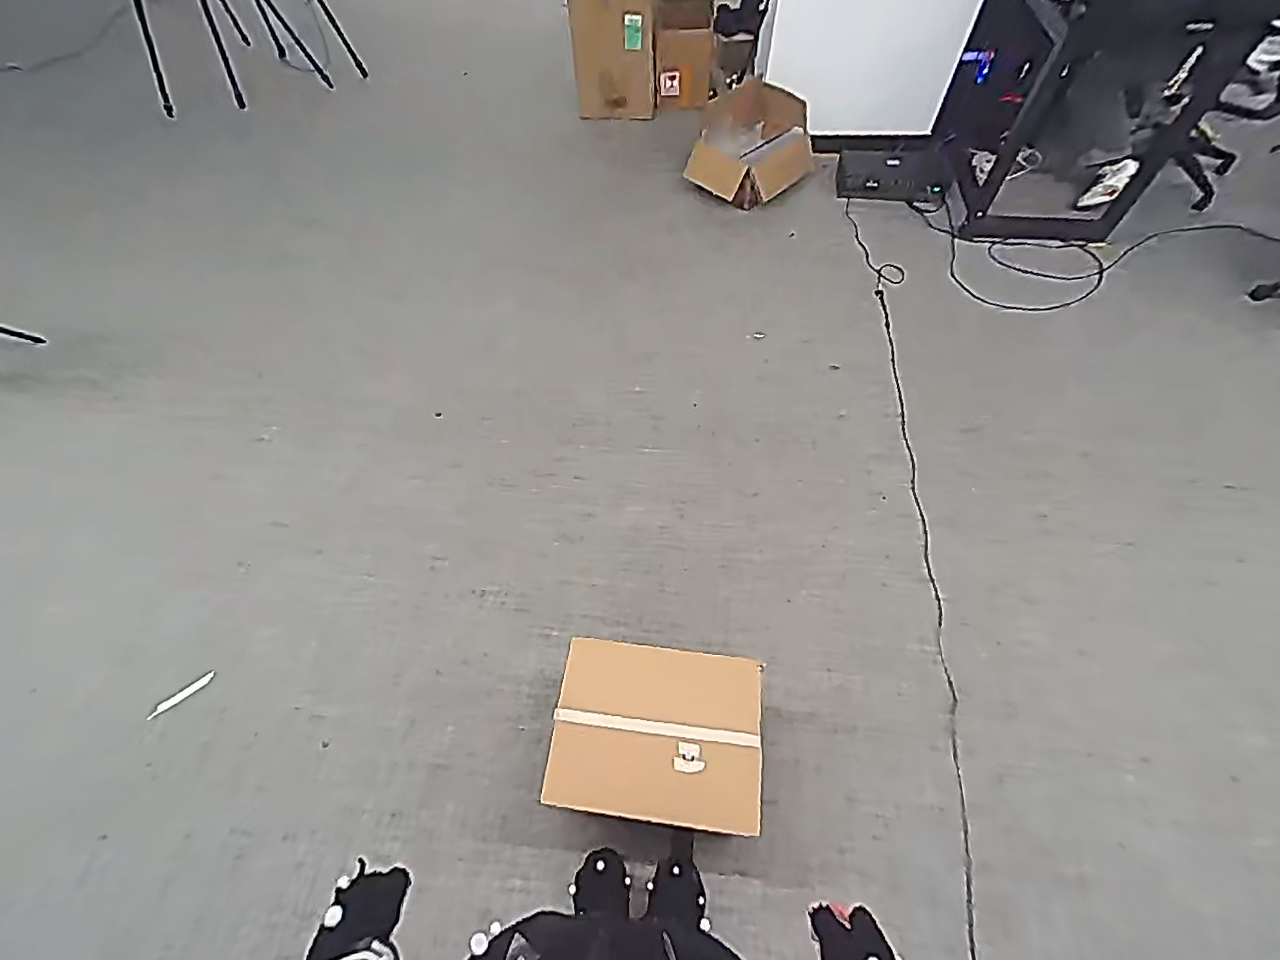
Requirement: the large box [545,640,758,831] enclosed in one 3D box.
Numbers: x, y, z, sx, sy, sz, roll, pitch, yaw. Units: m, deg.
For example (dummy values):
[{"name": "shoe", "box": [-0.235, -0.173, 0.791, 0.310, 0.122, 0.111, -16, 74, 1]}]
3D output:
[{"name": "large box", "box": [0.034, 0.570, 1.197, 0.408, 0.320, 0.320, 6, 59, 4]}]
